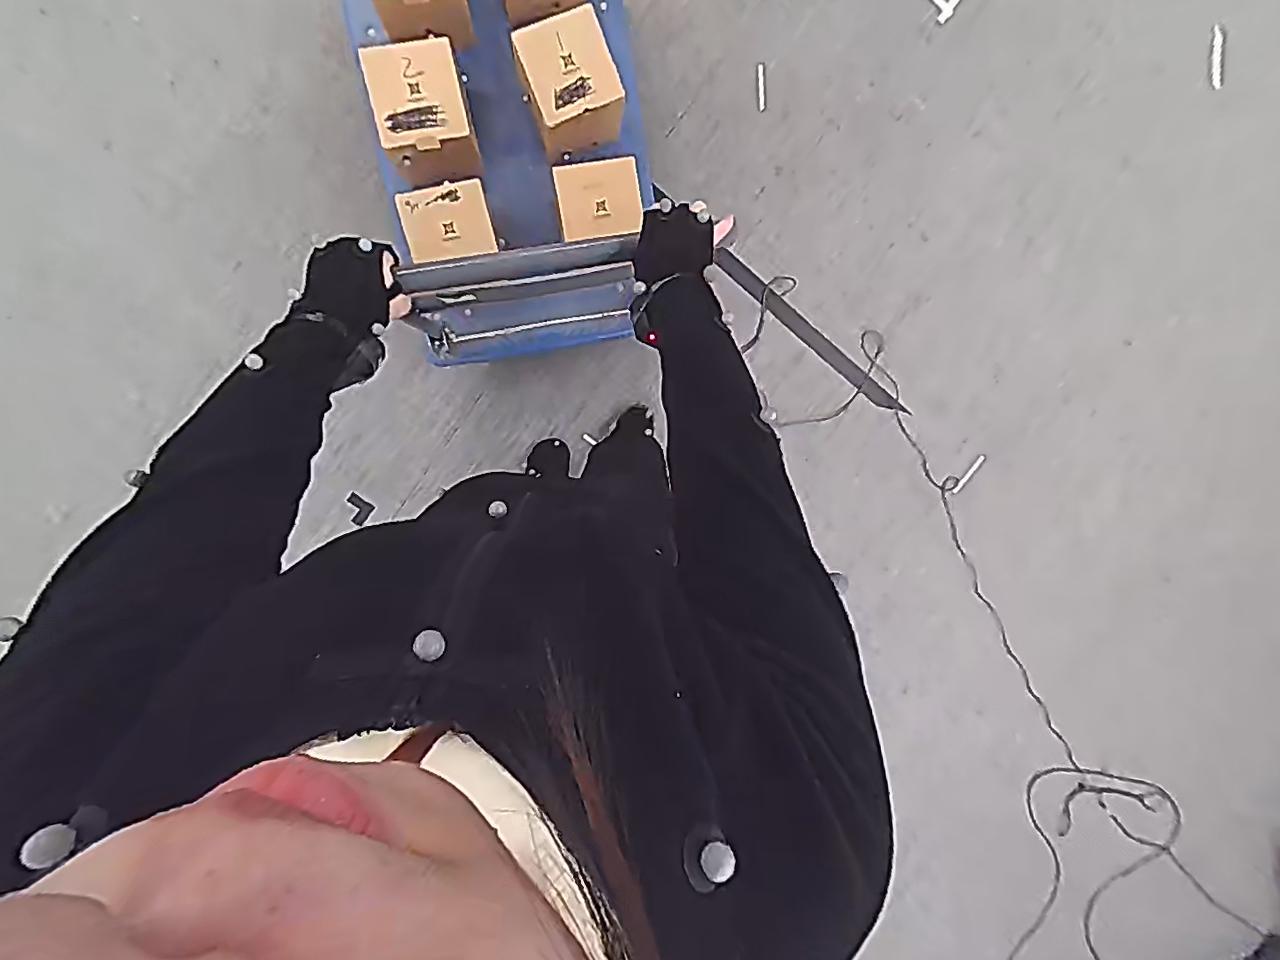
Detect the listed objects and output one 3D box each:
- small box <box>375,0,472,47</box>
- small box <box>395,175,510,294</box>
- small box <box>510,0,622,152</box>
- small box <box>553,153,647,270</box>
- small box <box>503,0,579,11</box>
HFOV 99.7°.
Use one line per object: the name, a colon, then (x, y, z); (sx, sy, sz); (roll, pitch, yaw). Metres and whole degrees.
small box: (-0.432, -0.983, 1.038); (0.168, 0.176, 0.179); (-10, 100, -6)
small box: (-0.376, -0.494, 1.119); (0.168, 0.176, 0.179); (-15, 100, -6)
small box: (-0.146, -0.804, 1.102); (0.168, 0.176, 0.179); (-23, 100, -3)
small box: (-0.086, -0.558, 1.148); (0.168, 0.176, 0.179); (-11, 99, -6)
small box: (-0.212, -1.065, 1.056); (0.168, 0.176, 0.179); (-14, 100, -5)
